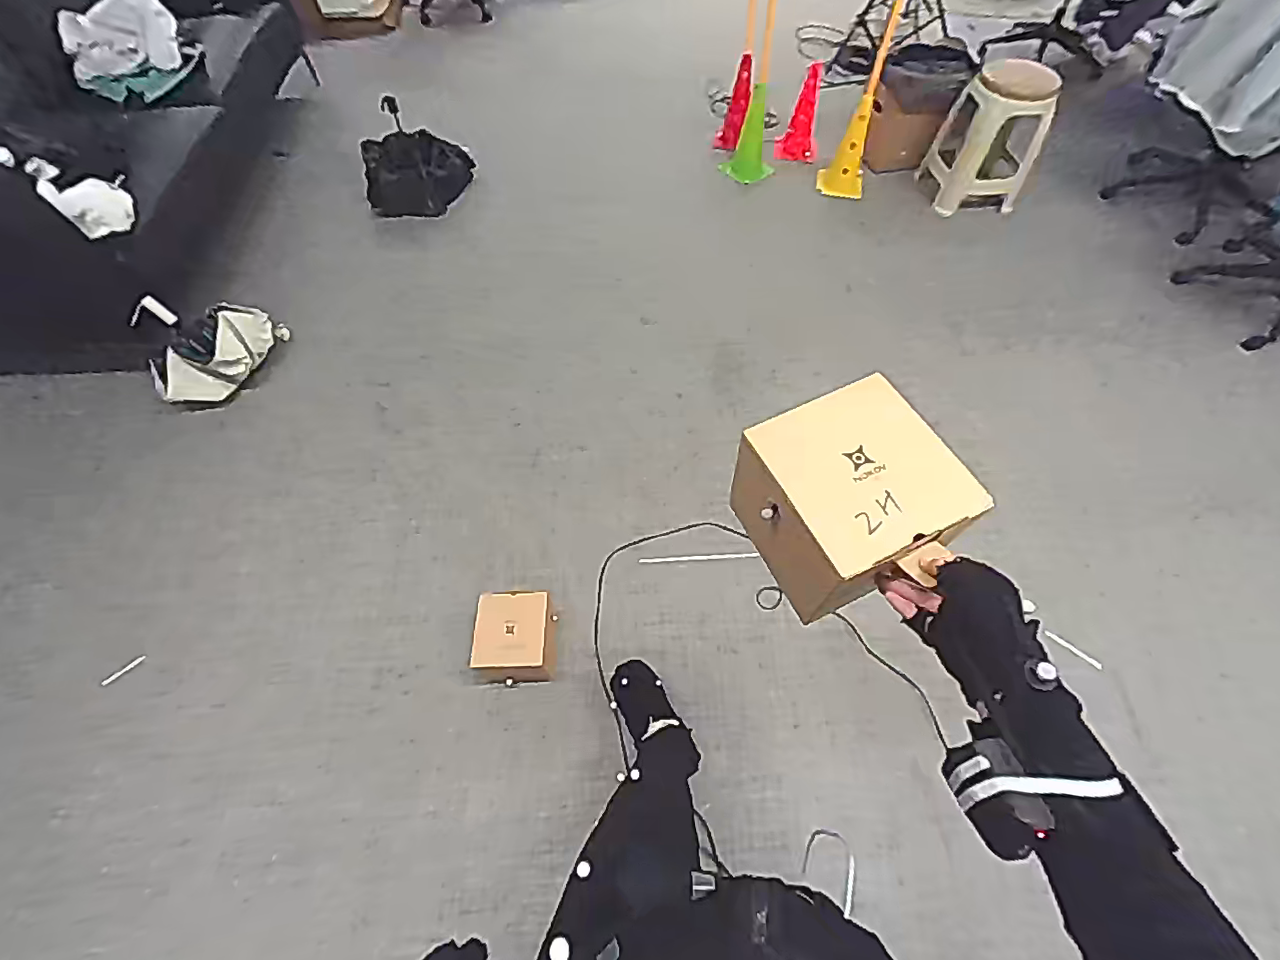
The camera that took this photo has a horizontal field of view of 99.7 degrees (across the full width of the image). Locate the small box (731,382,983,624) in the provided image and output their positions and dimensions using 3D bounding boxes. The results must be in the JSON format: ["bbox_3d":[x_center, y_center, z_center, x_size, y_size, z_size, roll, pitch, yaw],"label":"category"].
[{"bbox_3d":[0.212,0.032,0.592,0.168,0.176,0.179,-24,63,-8],"label":"small box"}]

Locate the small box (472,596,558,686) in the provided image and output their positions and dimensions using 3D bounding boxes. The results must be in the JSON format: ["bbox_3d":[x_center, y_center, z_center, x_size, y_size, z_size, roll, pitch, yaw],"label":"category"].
[{"bbox_3d":[-0.297,0.396,1.324,0.168,0.176,0.179,-1,59,1],"label":"small box"}]
